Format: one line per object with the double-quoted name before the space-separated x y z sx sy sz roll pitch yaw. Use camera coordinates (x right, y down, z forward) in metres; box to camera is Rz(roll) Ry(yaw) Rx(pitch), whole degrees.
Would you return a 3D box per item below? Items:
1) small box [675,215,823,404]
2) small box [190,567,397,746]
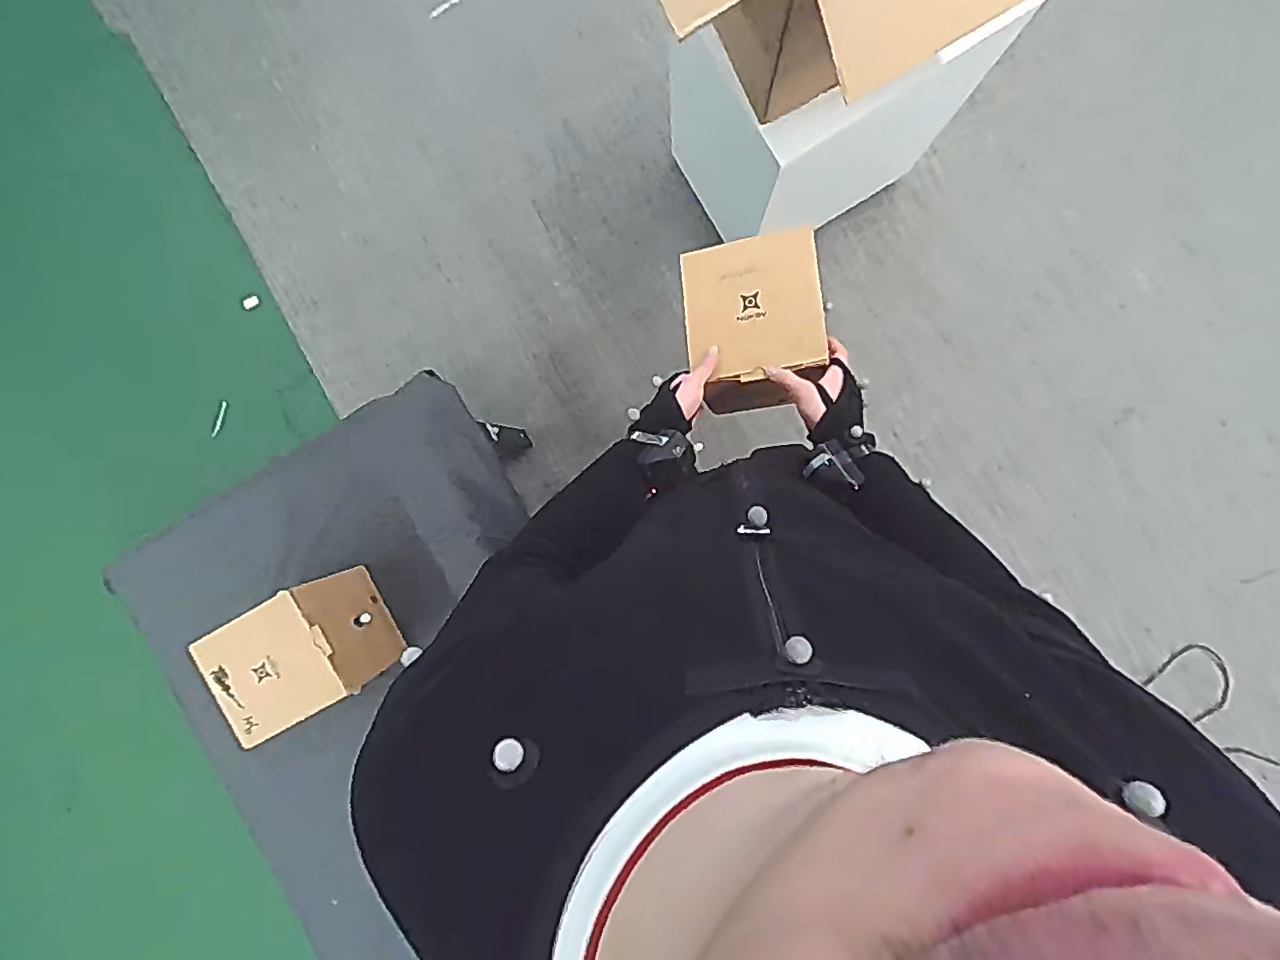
"small box" 0.149 -0.208 0.719 0.168 0.176 0.179 -6 79 15
"small box" -0.497 0.249 0.810 0.179 0.176 0.168 -29 90 4
